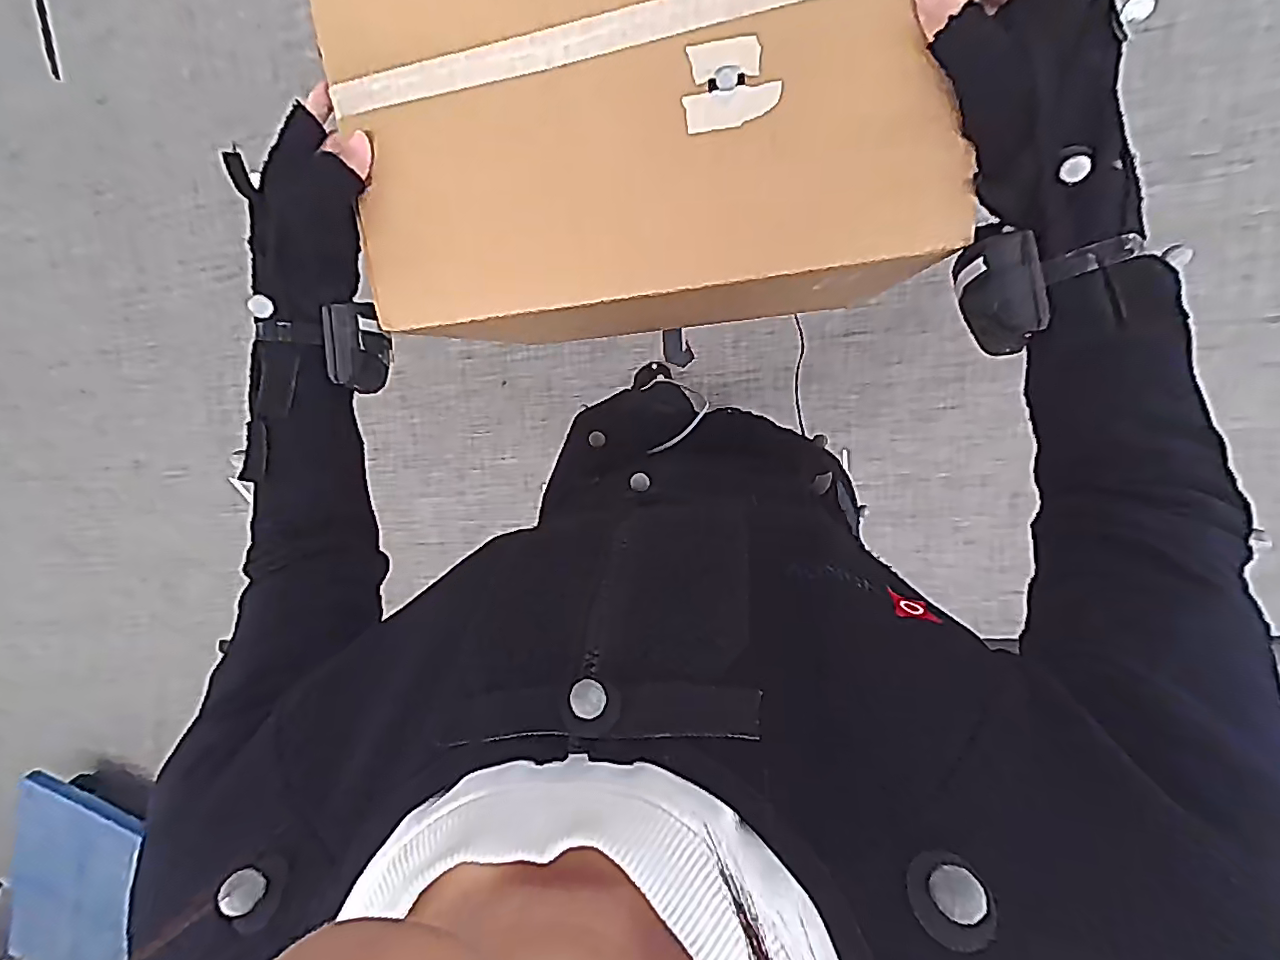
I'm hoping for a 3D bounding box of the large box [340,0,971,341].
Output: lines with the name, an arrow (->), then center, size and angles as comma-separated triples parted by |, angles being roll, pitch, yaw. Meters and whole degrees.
large box -> 0.017, -0.317, 0.491 | 0.408, 0.320, 0.320 | -5, 102, 11
